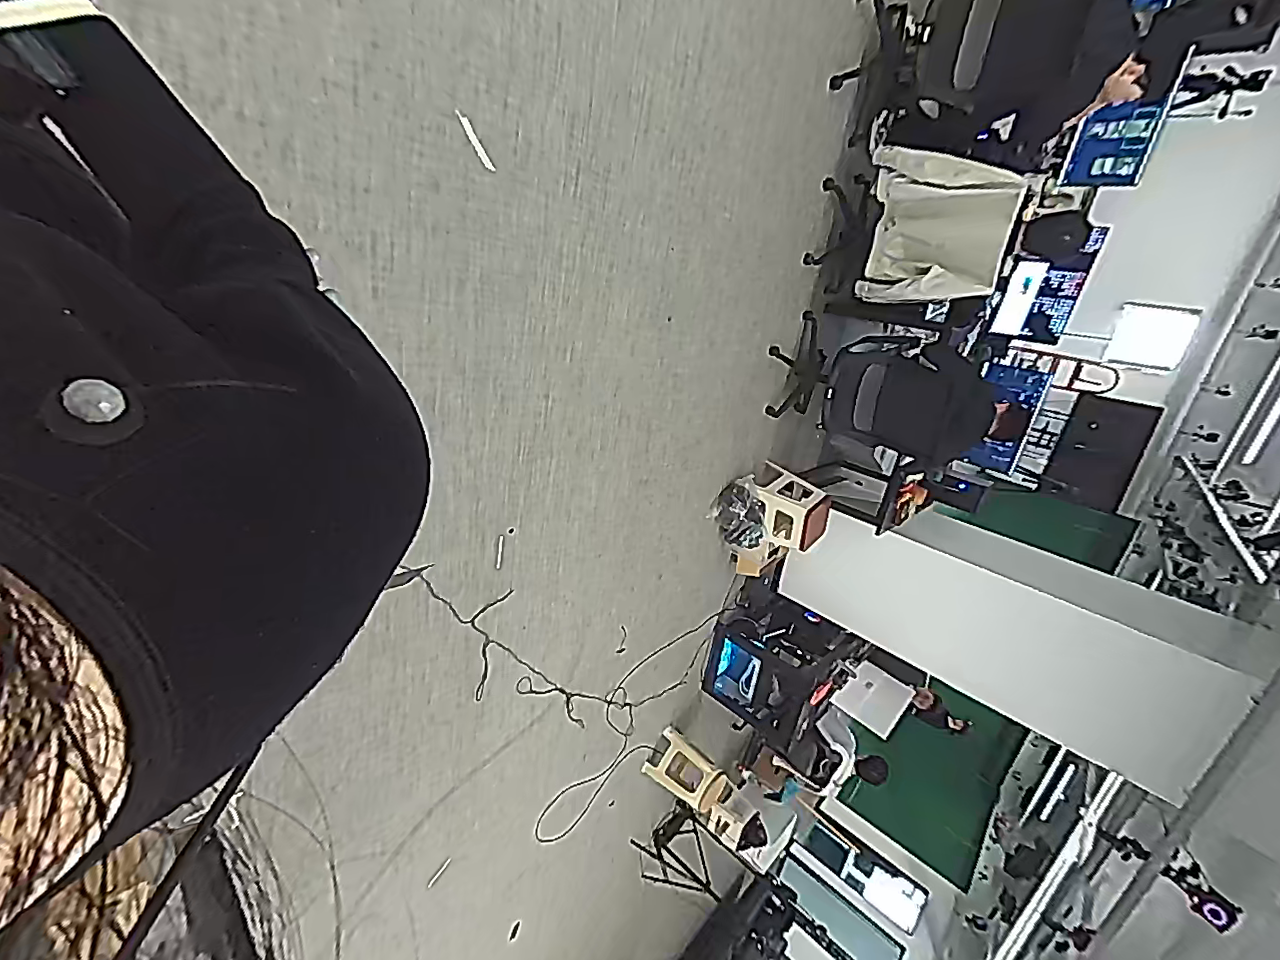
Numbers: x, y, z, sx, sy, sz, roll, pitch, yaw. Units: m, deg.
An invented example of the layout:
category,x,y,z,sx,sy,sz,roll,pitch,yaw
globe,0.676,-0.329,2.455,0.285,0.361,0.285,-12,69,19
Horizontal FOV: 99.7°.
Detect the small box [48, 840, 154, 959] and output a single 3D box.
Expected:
category,x,y,z,sx,sy,sz,roll,pitch,yaw
small box,-1.343,1.060,1.349,0.168,0.176,0.179,-11,119,-48
